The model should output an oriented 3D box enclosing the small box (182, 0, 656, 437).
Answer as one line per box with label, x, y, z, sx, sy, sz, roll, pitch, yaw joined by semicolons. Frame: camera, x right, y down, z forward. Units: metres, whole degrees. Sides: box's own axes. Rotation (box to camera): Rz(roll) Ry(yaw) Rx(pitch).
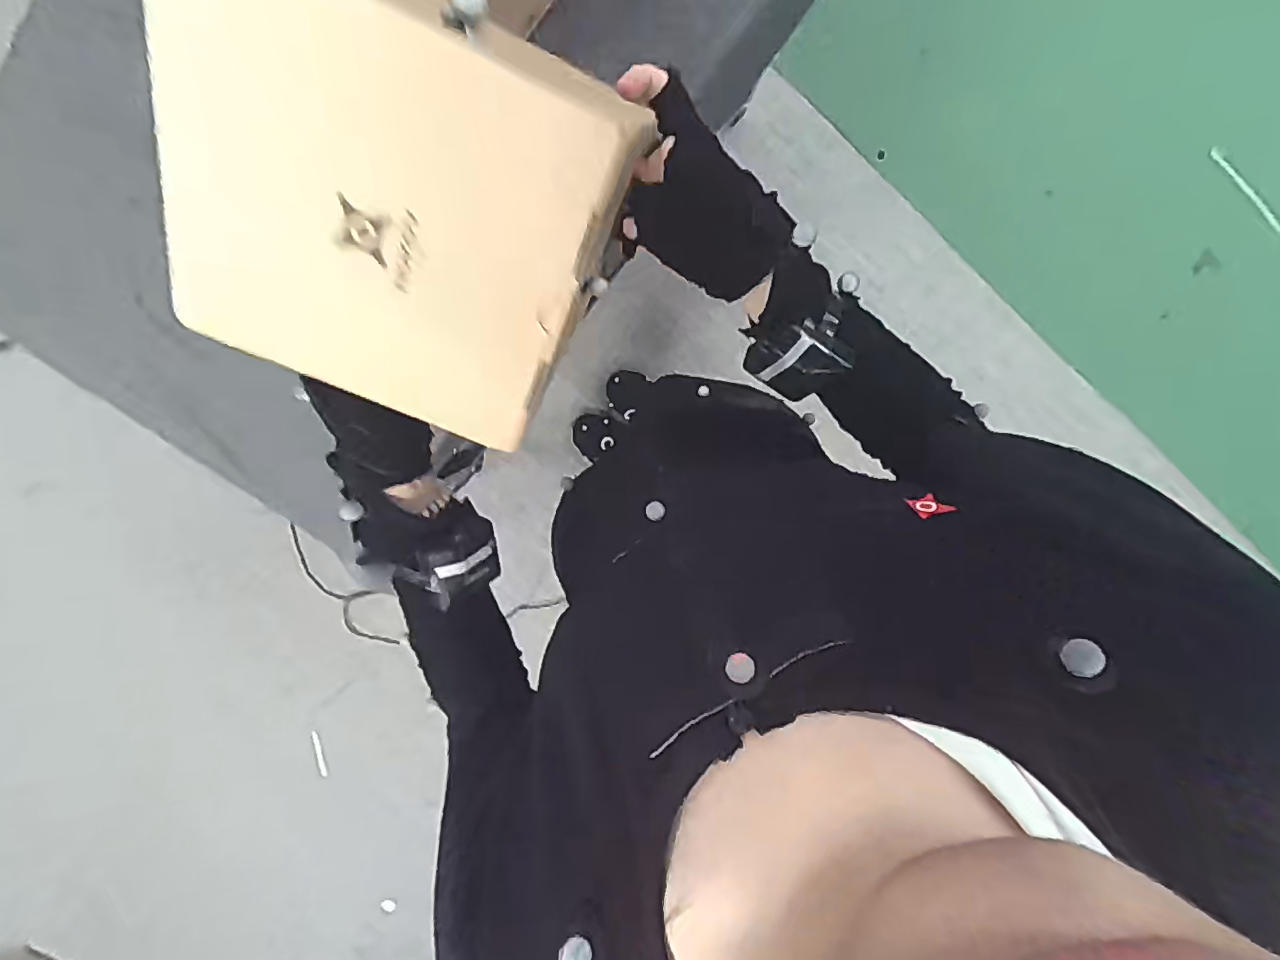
small box;-0.103;-0.158;0.304;0.179;0.176;0.168;21;126;-12
